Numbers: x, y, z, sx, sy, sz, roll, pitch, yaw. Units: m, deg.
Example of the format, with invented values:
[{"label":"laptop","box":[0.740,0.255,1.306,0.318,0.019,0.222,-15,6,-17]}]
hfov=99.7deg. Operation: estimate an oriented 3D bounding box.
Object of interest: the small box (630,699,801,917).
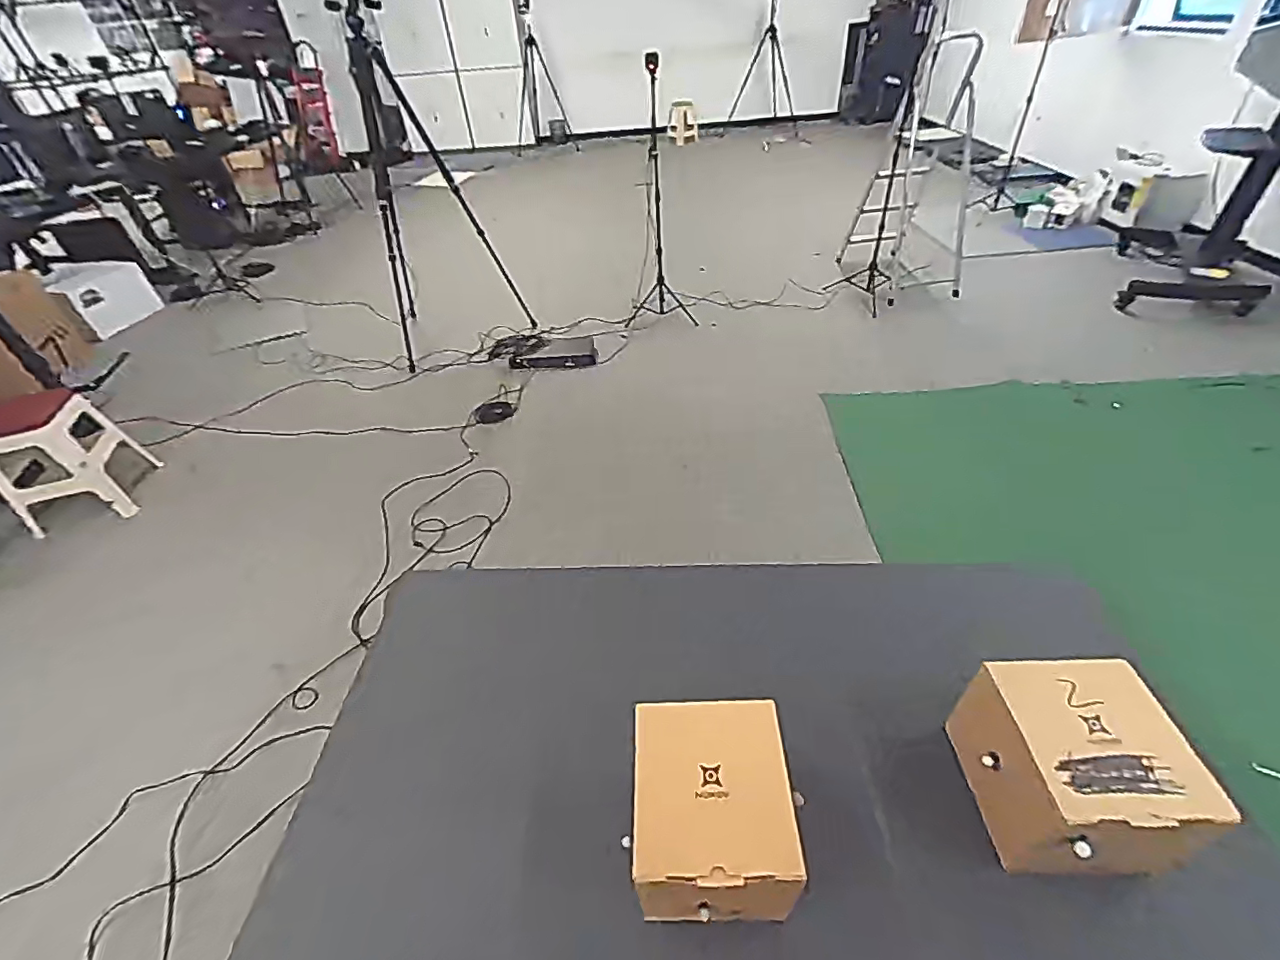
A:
[{"label":"small box","box":[0.075,0.377,0.626,0.168,0.176,0.179,-2,42,2]}]
